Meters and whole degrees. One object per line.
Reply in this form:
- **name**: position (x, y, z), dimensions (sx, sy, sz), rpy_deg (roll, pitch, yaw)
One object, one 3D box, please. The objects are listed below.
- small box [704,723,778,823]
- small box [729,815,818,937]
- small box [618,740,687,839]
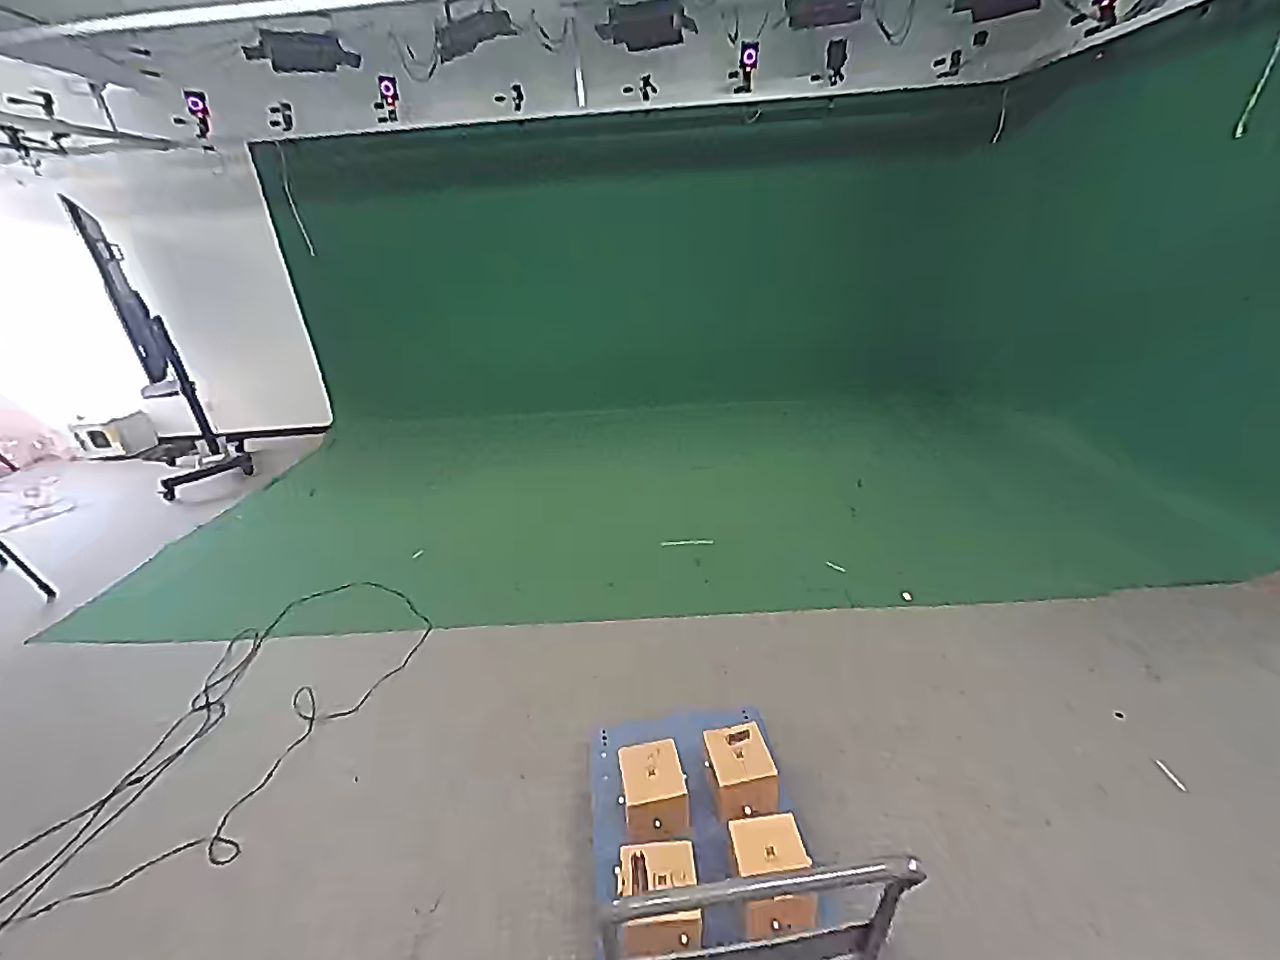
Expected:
- **small box**: position (0.283, 0.838, 1.551), dimensions (0.168, 0.176, 0.179), rpy_deg (-8, 27, -7)
- **small box**: position (0.313, 0.956, 1.310), dimensions (0.168, 0.176, 0.179), rpy_deg (-5, 26, -3)
- **small box**: position (0.036, 0.871, 1.518), dimensions (0.168, 0.176, 0.179), rpy_deg (-7, 26, -7)
